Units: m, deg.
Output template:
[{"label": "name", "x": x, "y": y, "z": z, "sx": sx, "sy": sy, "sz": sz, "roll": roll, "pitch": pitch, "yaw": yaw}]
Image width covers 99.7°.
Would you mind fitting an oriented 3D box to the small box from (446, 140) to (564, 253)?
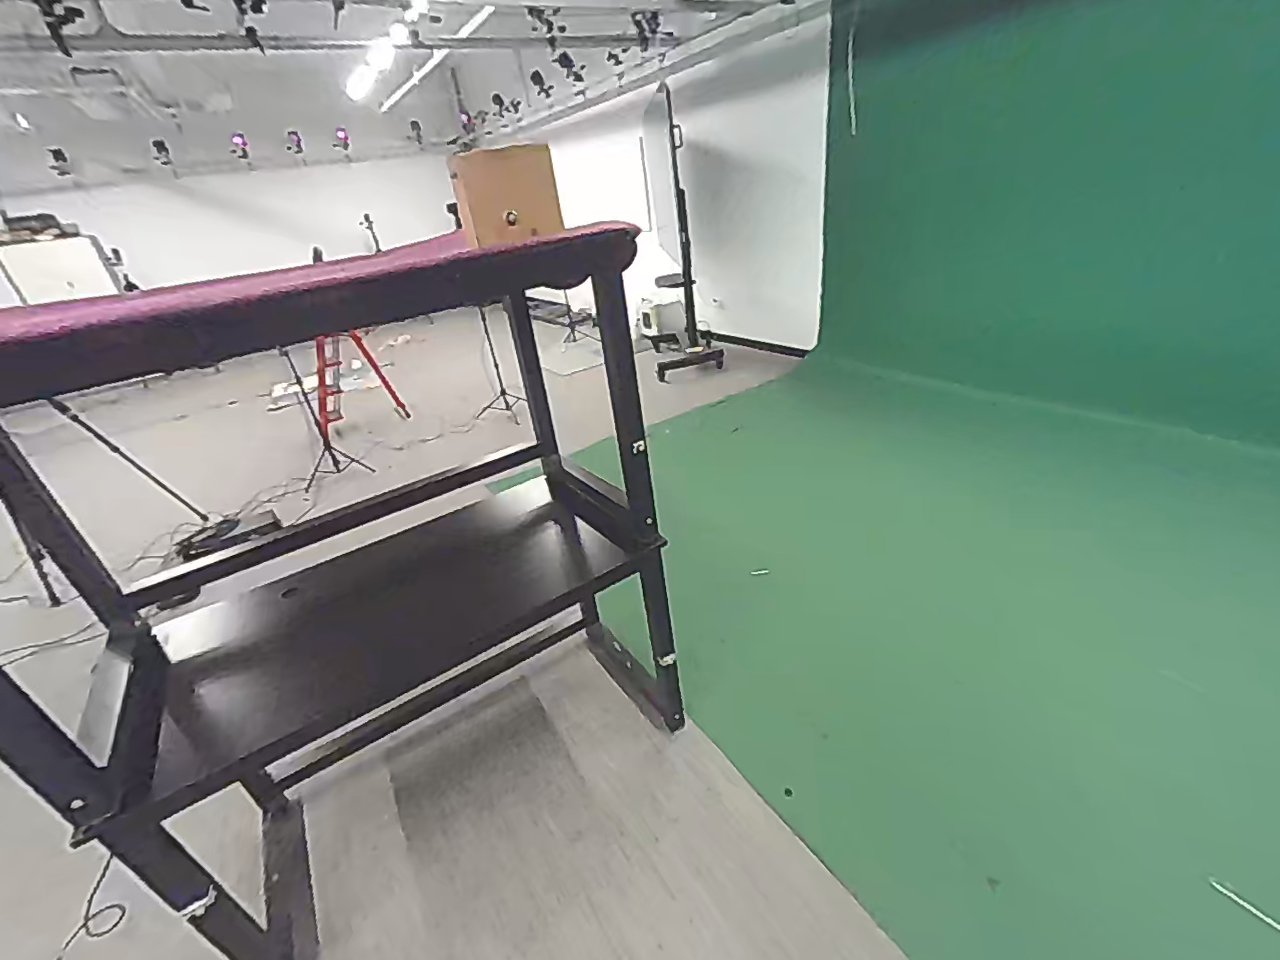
[{"label": "small box", "x": -0.257, "y": -0.535, "z": 1.029, "sx": 0.168, "sy": 0.176, "sz": 0.179, "roll": -18, "pitch": 32, "yaw": -17}]
